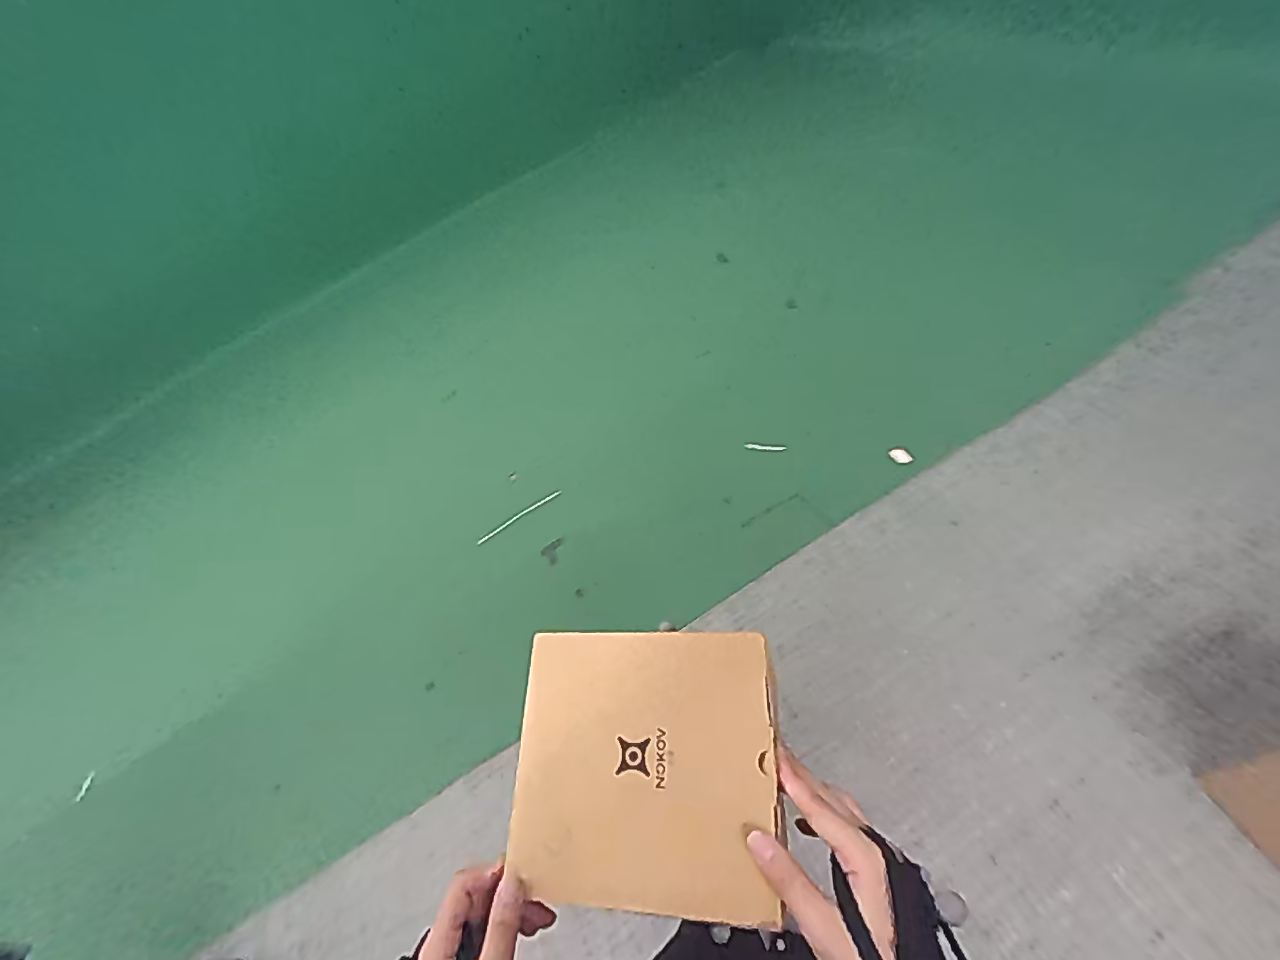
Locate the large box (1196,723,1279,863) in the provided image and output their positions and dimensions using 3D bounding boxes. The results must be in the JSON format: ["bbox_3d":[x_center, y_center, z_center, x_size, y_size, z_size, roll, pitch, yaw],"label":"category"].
[{"bbox_3d":[1.112,0.487,0.696,0.320,0.320,0.408,-29,51,2],"label":"large box"}]
